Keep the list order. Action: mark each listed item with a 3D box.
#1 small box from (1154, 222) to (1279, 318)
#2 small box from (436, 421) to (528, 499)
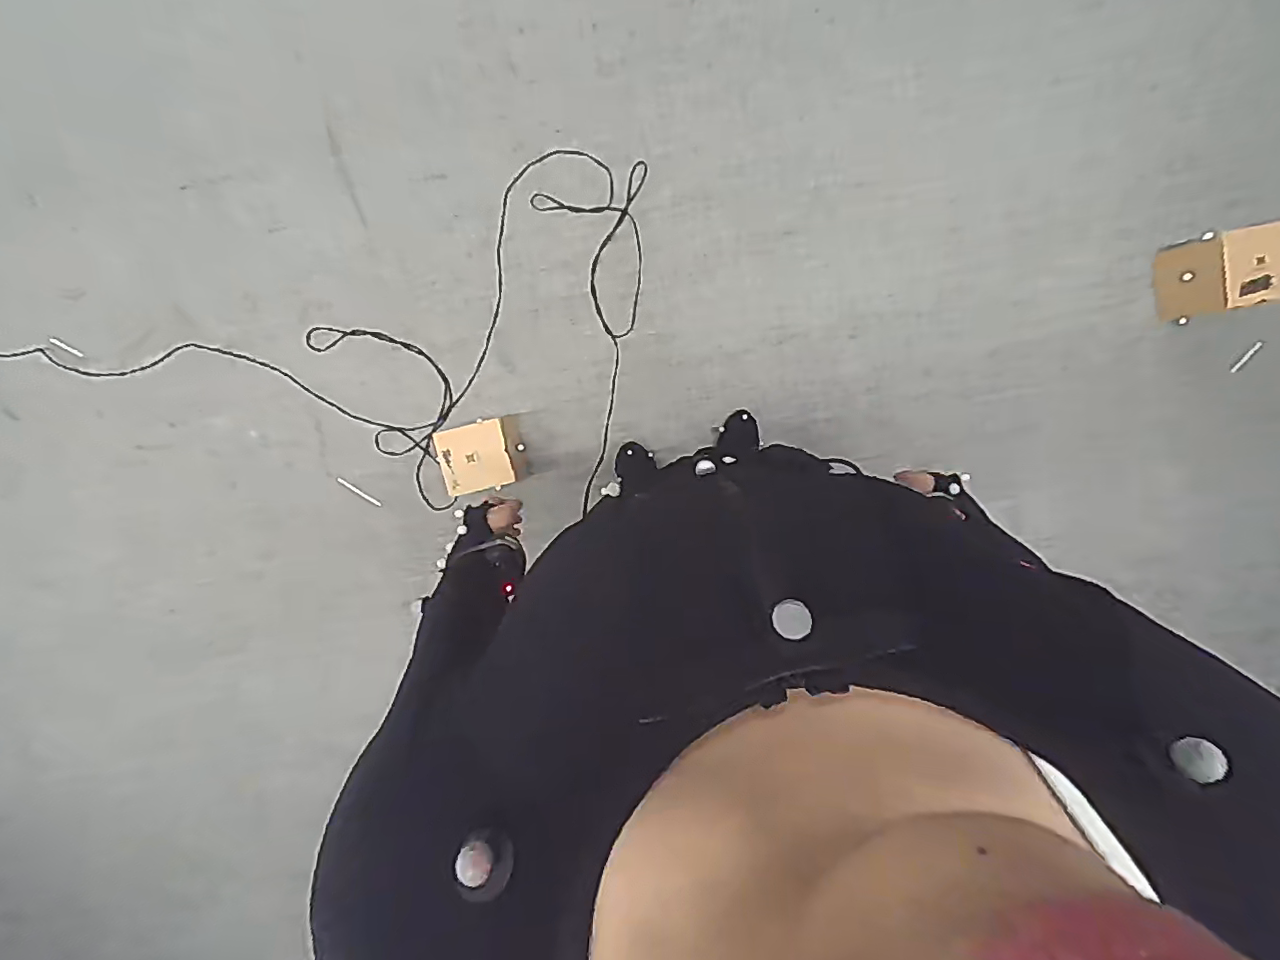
[{"bbox_3d":[1.421,-0.505,1.326,0.168,0.176,0.179,-10,96,2],"label":"small box"},{"bbox_3d":[-0.400,-0.059,1.407,0.179,0.176,0.168,-13,96,2],"label":"small box"}]
